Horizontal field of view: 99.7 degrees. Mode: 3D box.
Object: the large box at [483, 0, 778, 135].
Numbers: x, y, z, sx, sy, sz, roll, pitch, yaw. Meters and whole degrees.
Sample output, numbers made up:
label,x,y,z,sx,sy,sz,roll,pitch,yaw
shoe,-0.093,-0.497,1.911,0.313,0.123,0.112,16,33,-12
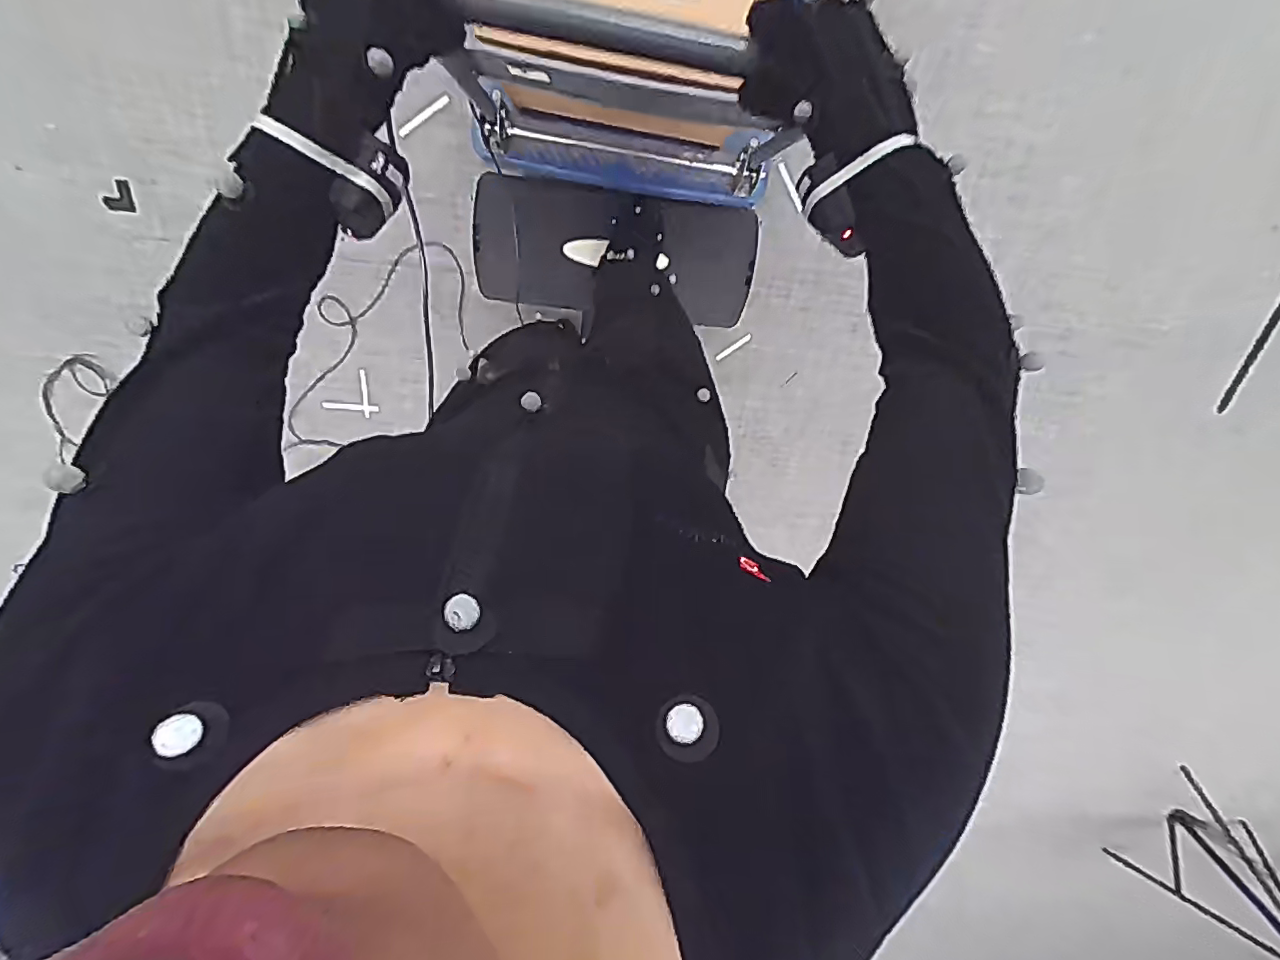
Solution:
label,x,y,z,sx,sy,sz,roll,pitch,yaw
large box,-0.010,-0.780,0.842,0.408,0.320,0.320,6,110,-7
